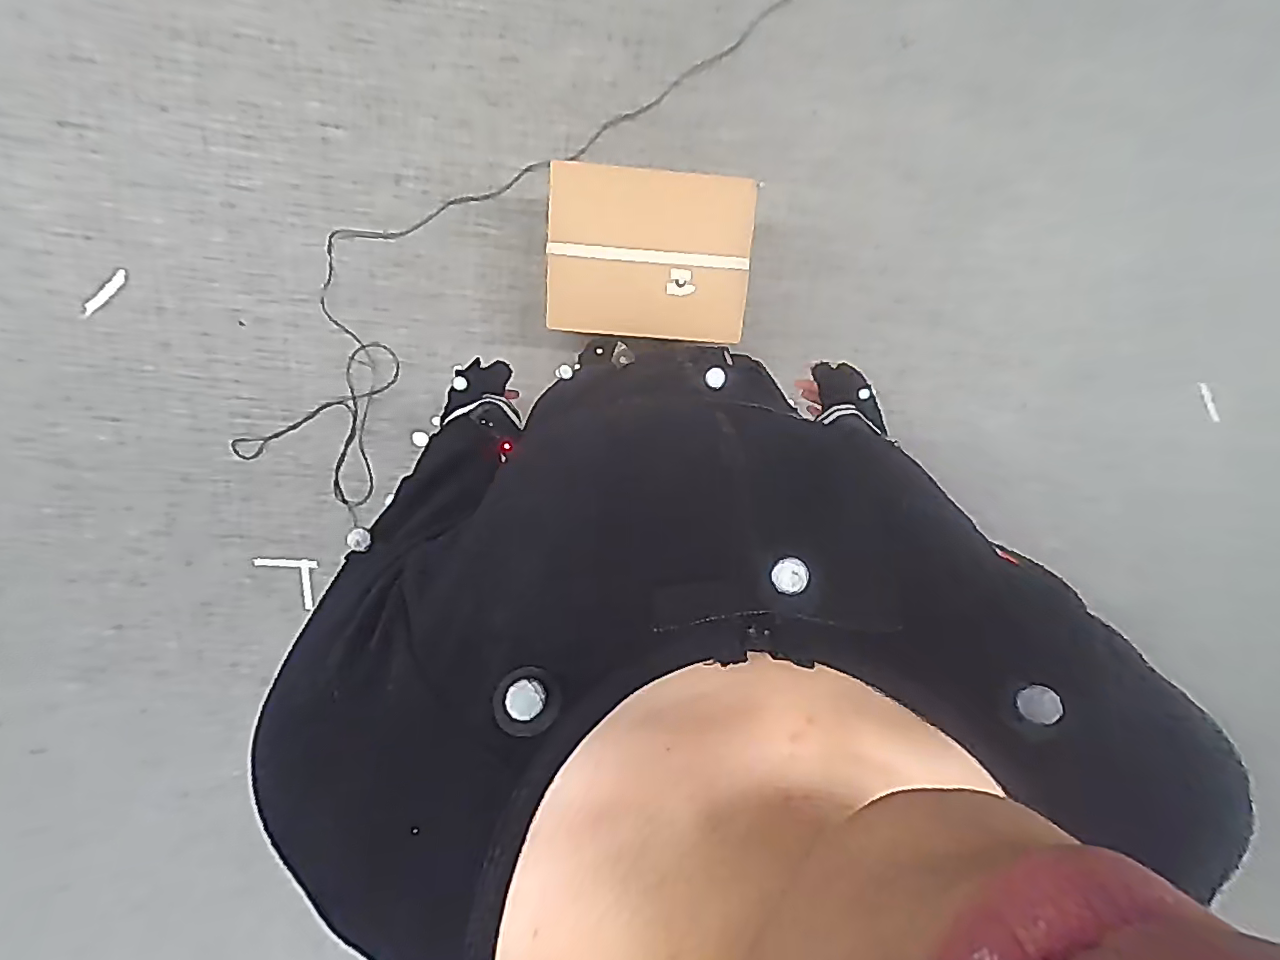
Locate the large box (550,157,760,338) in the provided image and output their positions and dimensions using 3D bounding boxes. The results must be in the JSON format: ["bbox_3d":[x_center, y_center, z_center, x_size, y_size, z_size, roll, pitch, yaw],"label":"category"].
[{"bbox_3d":[0.015,-0.488,1.206,0.408,0.320,0.320,3,106,-4],"label":"large box"}]
